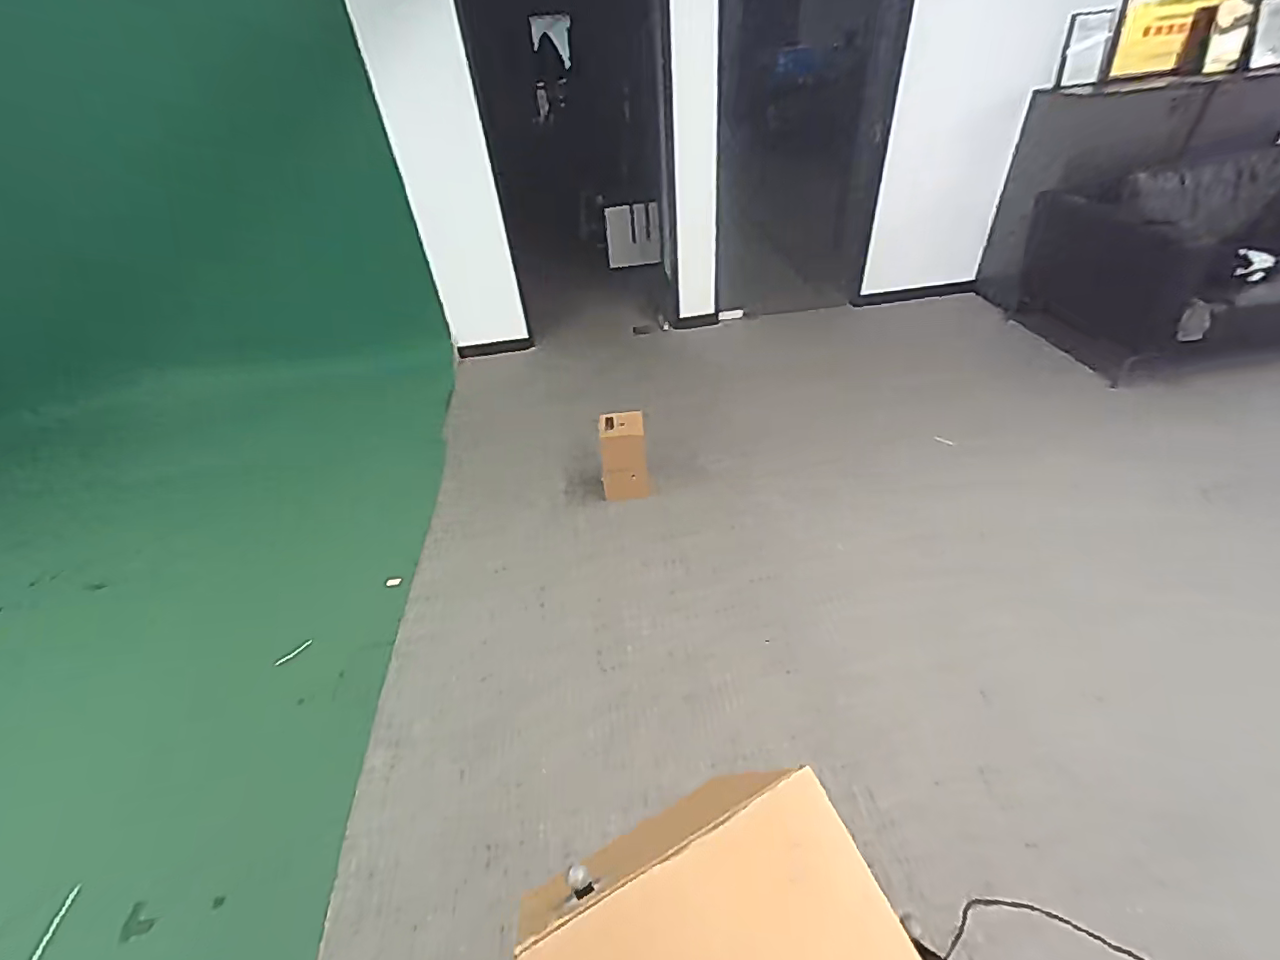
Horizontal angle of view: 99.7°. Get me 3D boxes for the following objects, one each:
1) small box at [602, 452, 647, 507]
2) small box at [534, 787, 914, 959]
[{"bbox_3d":[-0.062,-0.001,2.291,0.179,0.176,0.168,-4,39,2],"label":"small box"},{"bbox_3d":[0.046,0.300,0.310,0.179,0.176,0.168,-20,64,-19],"label":"small box"}]
